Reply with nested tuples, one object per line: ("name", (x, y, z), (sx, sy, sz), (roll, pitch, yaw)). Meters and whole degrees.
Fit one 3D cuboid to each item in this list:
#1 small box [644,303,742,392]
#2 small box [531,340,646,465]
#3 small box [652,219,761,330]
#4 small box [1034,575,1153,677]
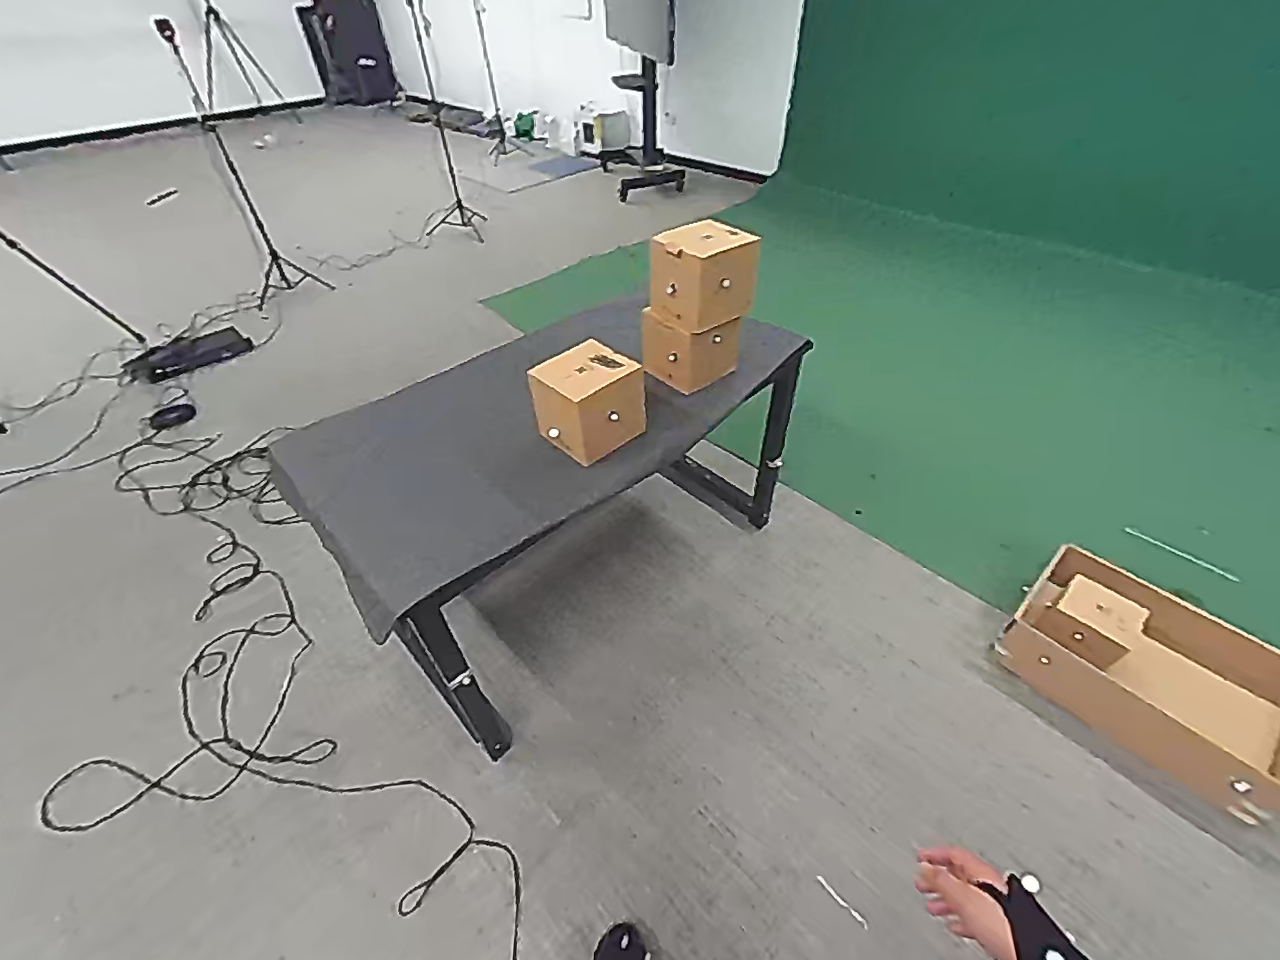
("small box", (0.129, -0.339, 1.317), (0.179, 0.176, 0.168), (-30, 51, -28))
("small box", (-0.103, -0.165, 1.140), (0.179, 0.176, 0.168), (-35, 51, -28))
("small box", (0.145, -0.455, 1.201), (0.179, 0.176, 0.168), (-29, 50, -25))
("small box", (1.237, 0.404, 1.488), (0.168, 0.176, 0.179), (-34, 54, -27))
